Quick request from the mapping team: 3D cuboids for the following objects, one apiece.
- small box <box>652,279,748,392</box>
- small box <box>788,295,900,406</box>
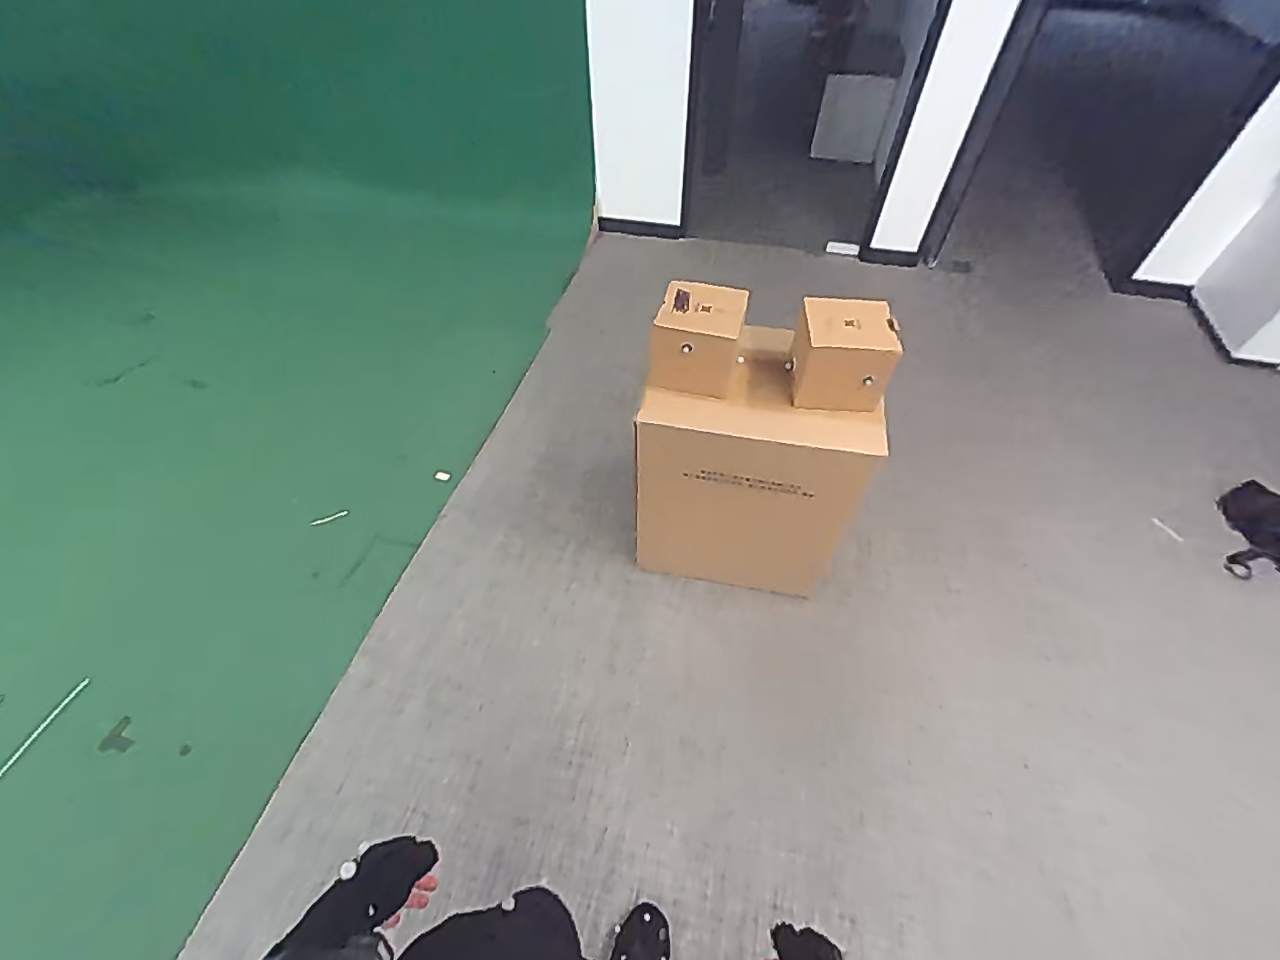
[{"bbox_3d":[0.131,-0.315,1.192,0.179,0.176,0.168,12,55,10],"label":"small box"},{"bbox_3d":[0.425,-0.274,1.156,0.179,0.176,0.168,2,52,4],"label":"small box"}]
